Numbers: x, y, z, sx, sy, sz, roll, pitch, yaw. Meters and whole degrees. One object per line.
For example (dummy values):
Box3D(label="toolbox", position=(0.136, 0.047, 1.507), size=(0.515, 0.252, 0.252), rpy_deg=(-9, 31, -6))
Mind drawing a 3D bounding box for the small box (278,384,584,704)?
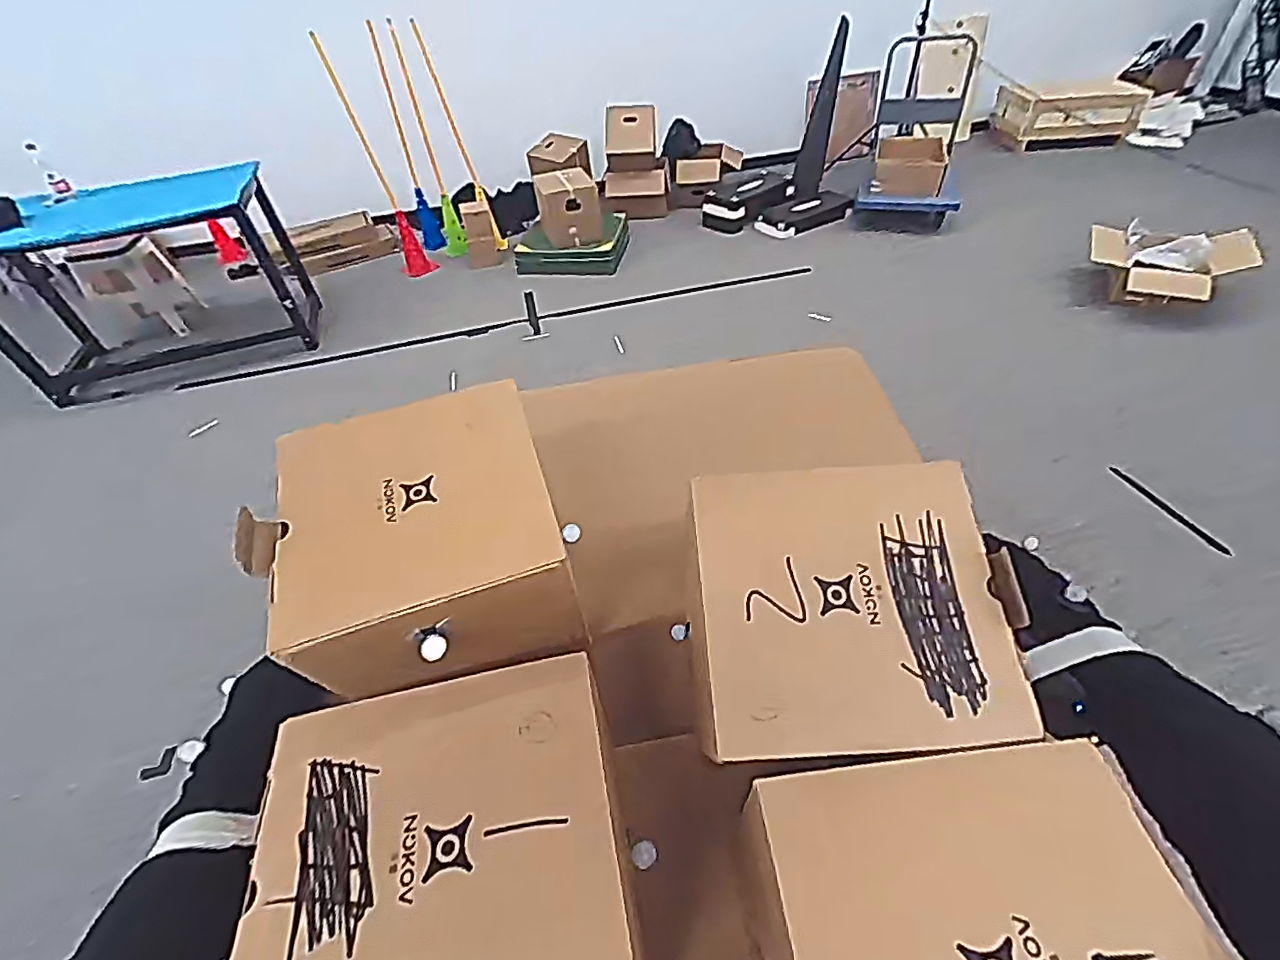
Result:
Box3D(label="small box", position=(-0.149, 0.056, 0.433), size=(0.179, 0.176, 0.168), rpy_deg=(-17, 56, -9))
